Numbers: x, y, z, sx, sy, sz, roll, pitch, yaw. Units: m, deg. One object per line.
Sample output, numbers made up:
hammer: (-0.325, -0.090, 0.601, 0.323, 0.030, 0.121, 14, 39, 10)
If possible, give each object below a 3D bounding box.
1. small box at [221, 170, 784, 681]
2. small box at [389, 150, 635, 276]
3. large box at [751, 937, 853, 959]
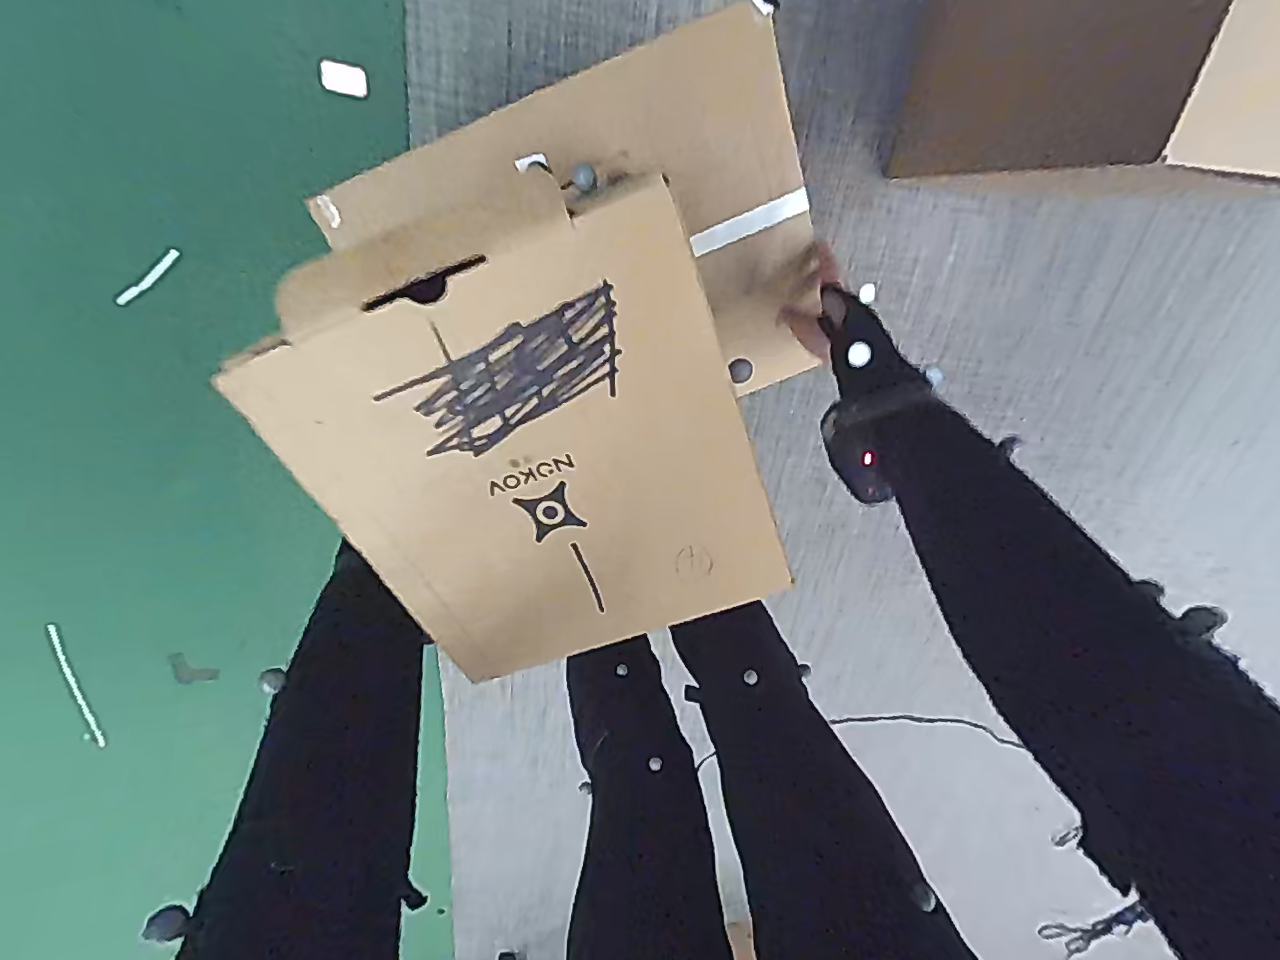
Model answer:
small box: (-0.043, -0.036, 0.282, 0.168, 0.176, 0.179, -19, 119, 10)
small box: (-0.053, -0.124, 0.425, 0.168, 0.176, 0.179, -25, 118, 8)
large box: (0.518, 1.739, 1.708, 0.320, 0.320, 0.408, 4, 115, -8)
